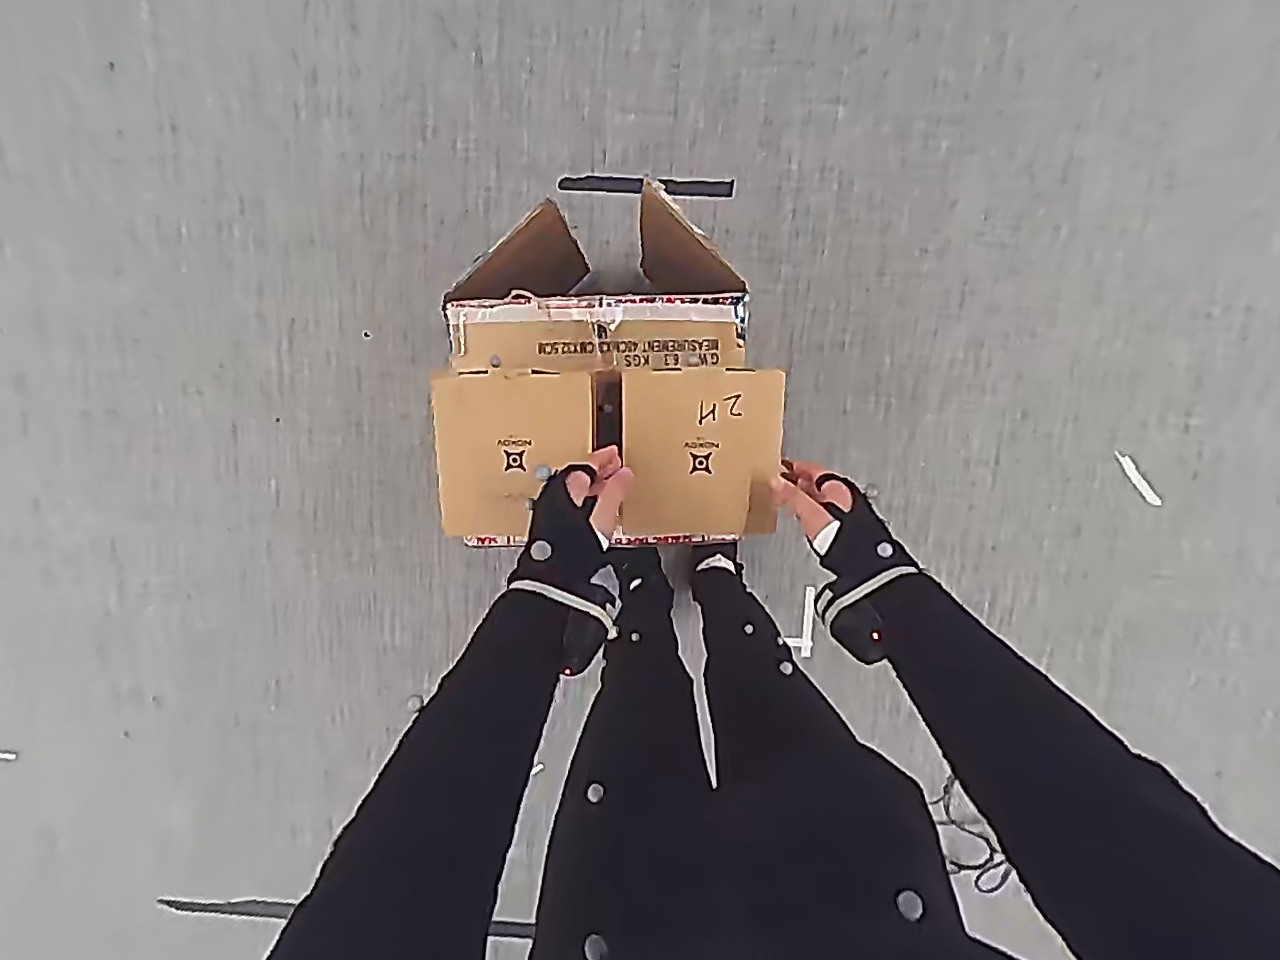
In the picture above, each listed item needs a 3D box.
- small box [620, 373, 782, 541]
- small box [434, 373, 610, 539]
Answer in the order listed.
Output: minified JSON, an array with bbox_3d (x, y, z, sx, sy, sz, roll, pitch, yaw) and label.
[{"bbox_3d":[0.062,-0.036,0.641,0.168,0.176,0.179,0,101,0],"label":"small box"},{"bbox_3d":[-0.126,-0.038,0.644,0.168,0.176,0.179,0,103,3],"label":"small box"}]
